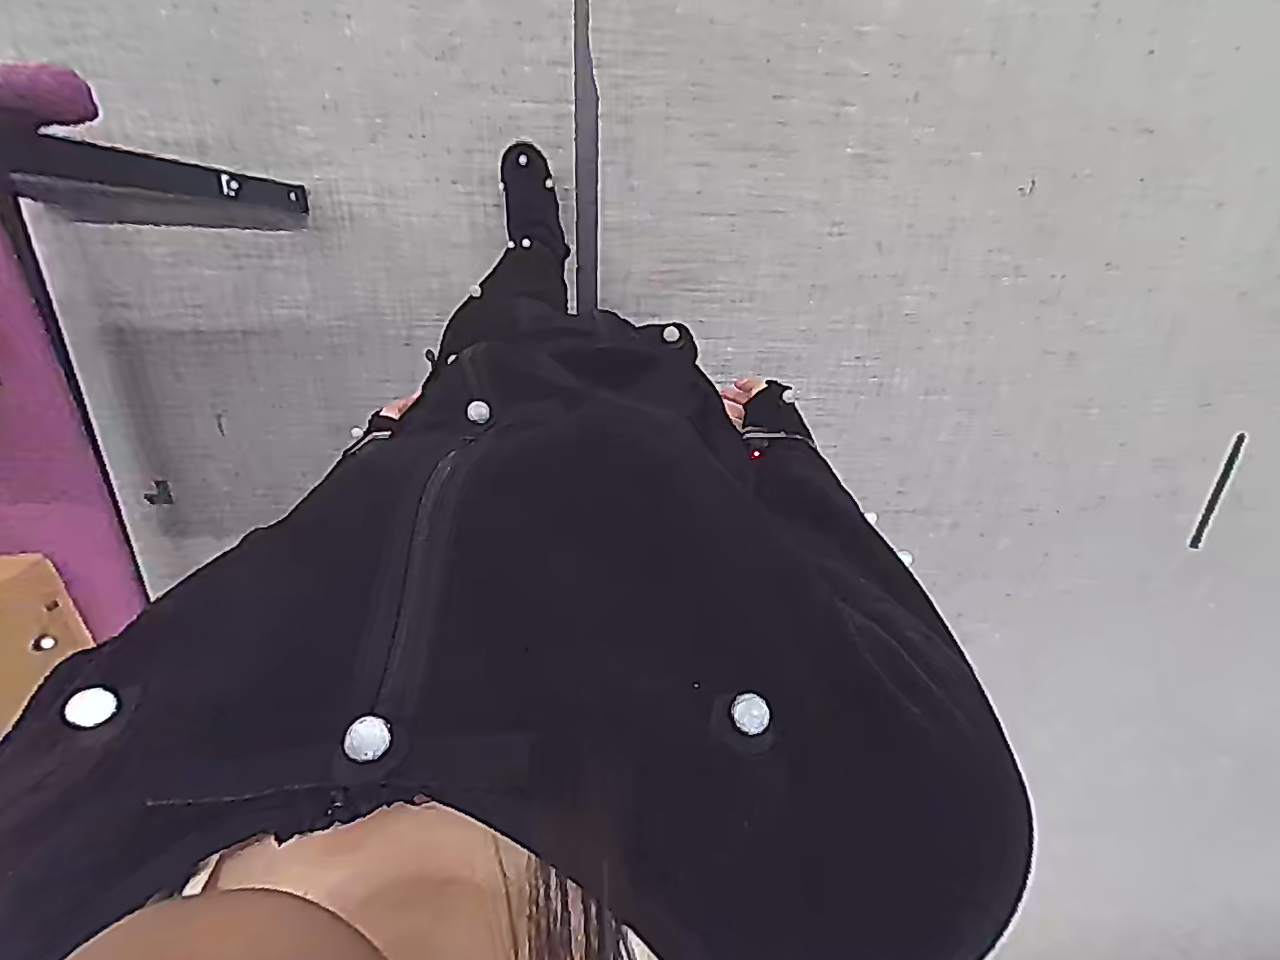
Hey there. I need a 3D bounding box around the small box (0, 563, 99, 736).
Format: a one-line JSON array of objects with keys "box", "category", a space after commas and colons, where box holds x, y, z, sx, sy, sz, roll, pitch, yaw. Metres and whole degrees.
[{"box": [-0.816, 0.211, 0.630, 0.179, 0.176, 0.168, -4, 113, -3], "category": "small box"}]
